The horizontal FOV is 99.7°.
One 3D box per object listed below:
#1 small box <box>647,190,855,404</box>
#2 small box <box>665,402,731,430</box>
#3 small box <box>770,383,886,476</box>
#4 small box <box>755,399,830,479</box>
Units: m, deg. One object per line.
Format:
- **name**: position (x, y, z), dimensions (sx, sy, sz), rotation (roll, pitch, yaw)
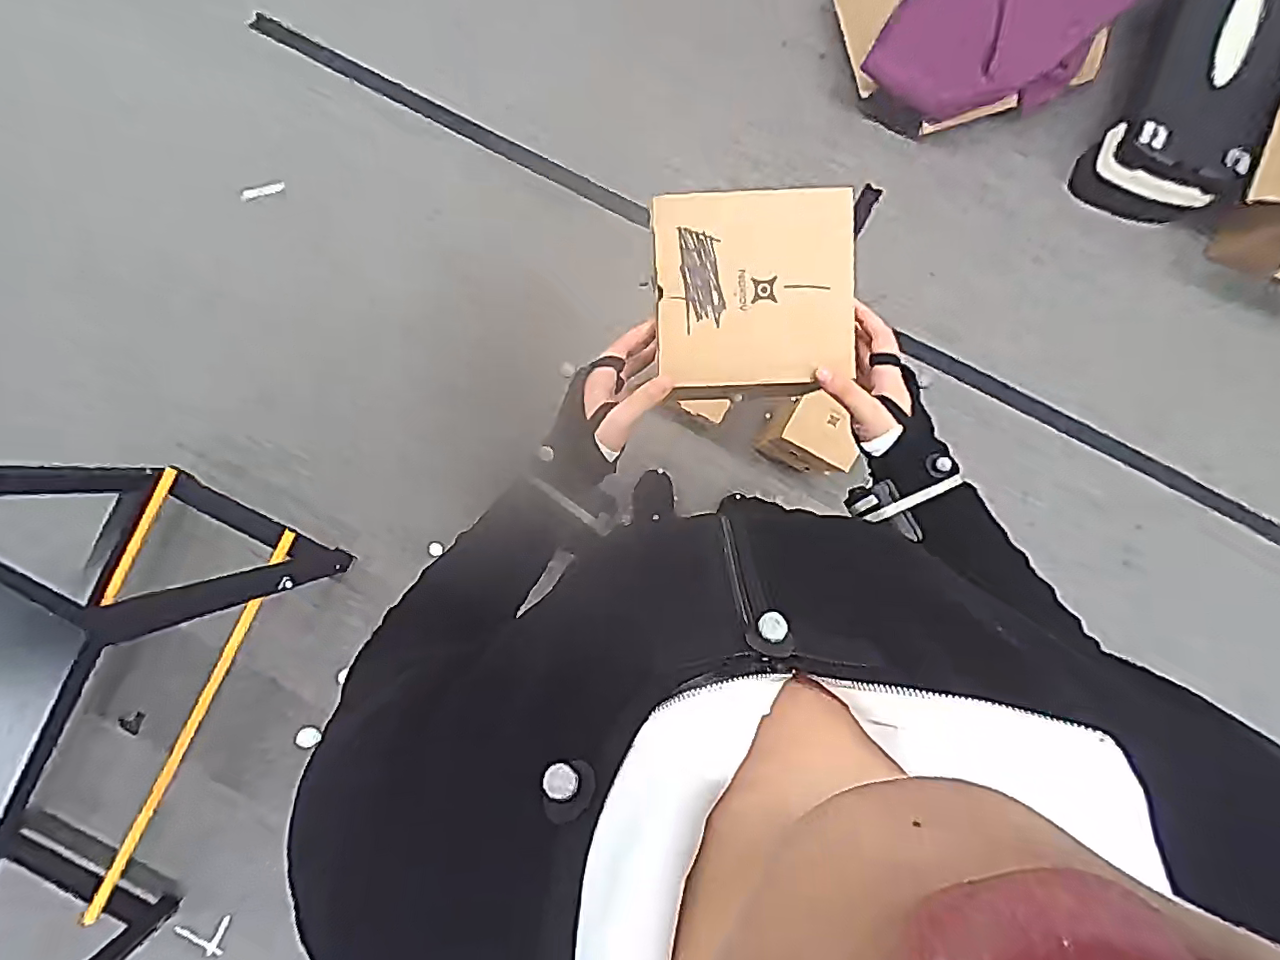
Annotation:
- **small box**: position (0.098, -0.166, 0.542), dimensions (0.179, 0.176, 0.168), rotation (-2, 94, 0)
- **small box**: position (0.164, -0.243, 1.402), dimensions (0.168, 0.176, 0.179), rotation (30, 92, 2)
- **small box**: position (0.416, -0.125, 1.232), dimensions (0.168, 0.176, 0.179), rotation (29, 93, 2)
- **small box**: position (0.421, -0.116, 1.395), dimensions (0.179, 0.176, 0.168), rotation (27, 92, 1)
